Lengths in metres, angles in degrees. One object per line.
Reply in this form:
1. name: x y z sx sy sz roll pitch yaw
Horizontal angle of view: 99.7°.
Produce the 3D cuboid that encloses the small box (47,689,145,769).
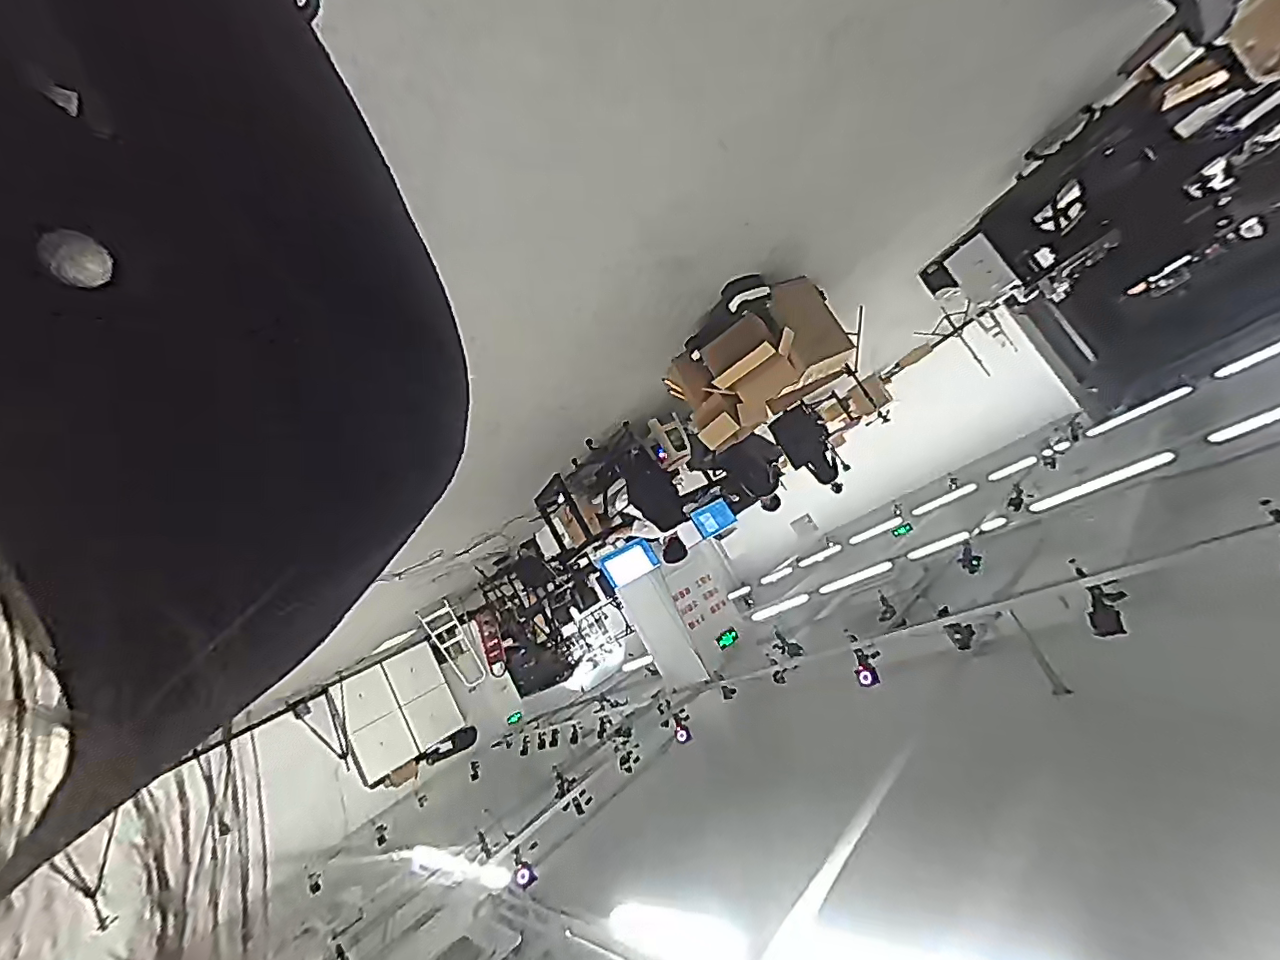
1. small box: -1.758 0.804 1.754 0.179 0.176 0.168 -21 166 -41
